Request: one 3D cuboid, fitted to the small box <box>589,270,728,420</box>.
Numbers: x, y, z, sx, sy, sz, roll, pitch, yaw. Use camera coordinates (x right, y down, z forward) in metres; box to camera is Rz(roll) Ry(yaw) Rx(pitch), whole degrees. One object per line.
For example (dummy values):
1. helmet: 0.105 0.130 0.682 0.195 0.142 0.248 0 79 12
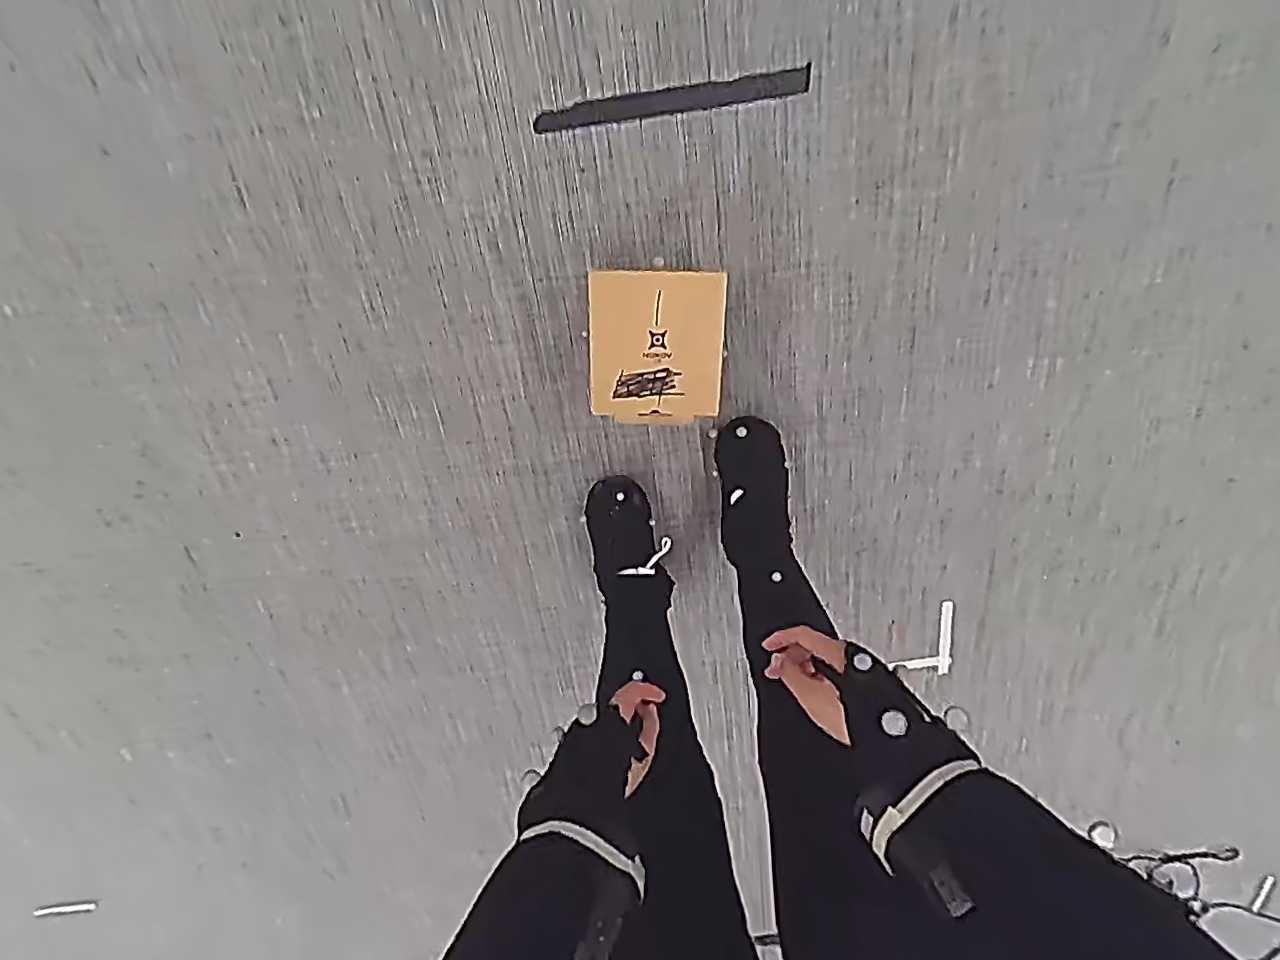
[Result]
1. small box: 0.019 -0.189 0.735 0.168 0.176 0.179 0 111 -2
